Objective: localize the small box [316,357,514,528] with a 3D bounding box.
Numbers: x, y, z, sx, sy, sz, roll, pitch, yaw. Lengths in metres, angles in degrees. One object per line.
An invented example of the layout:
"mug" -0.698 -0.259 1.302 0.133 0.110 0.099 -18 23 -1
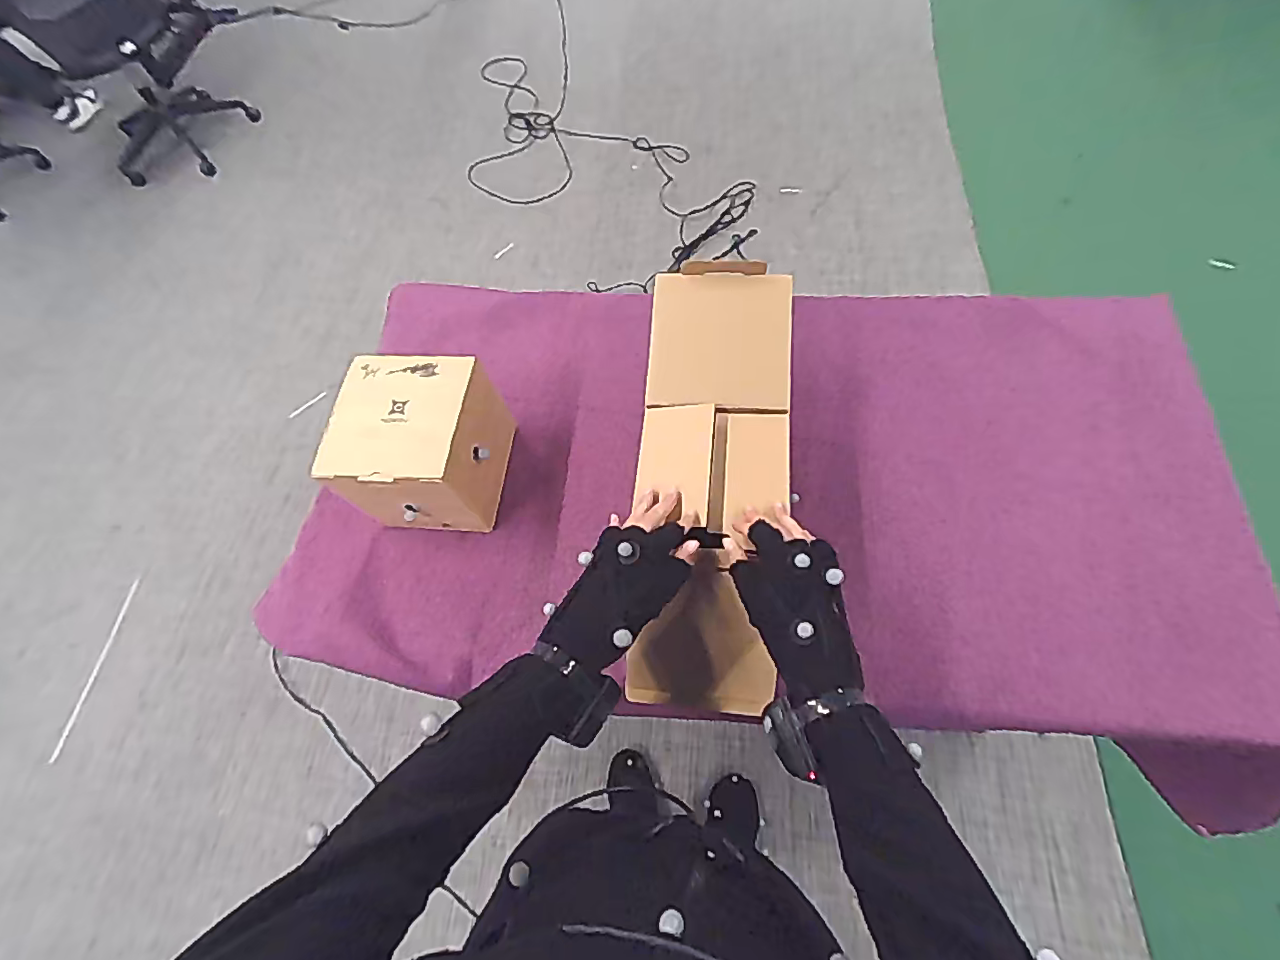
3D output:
"small box" -0.281 -0.044 0.723 0.168 0.176 0.179 2 65 7
